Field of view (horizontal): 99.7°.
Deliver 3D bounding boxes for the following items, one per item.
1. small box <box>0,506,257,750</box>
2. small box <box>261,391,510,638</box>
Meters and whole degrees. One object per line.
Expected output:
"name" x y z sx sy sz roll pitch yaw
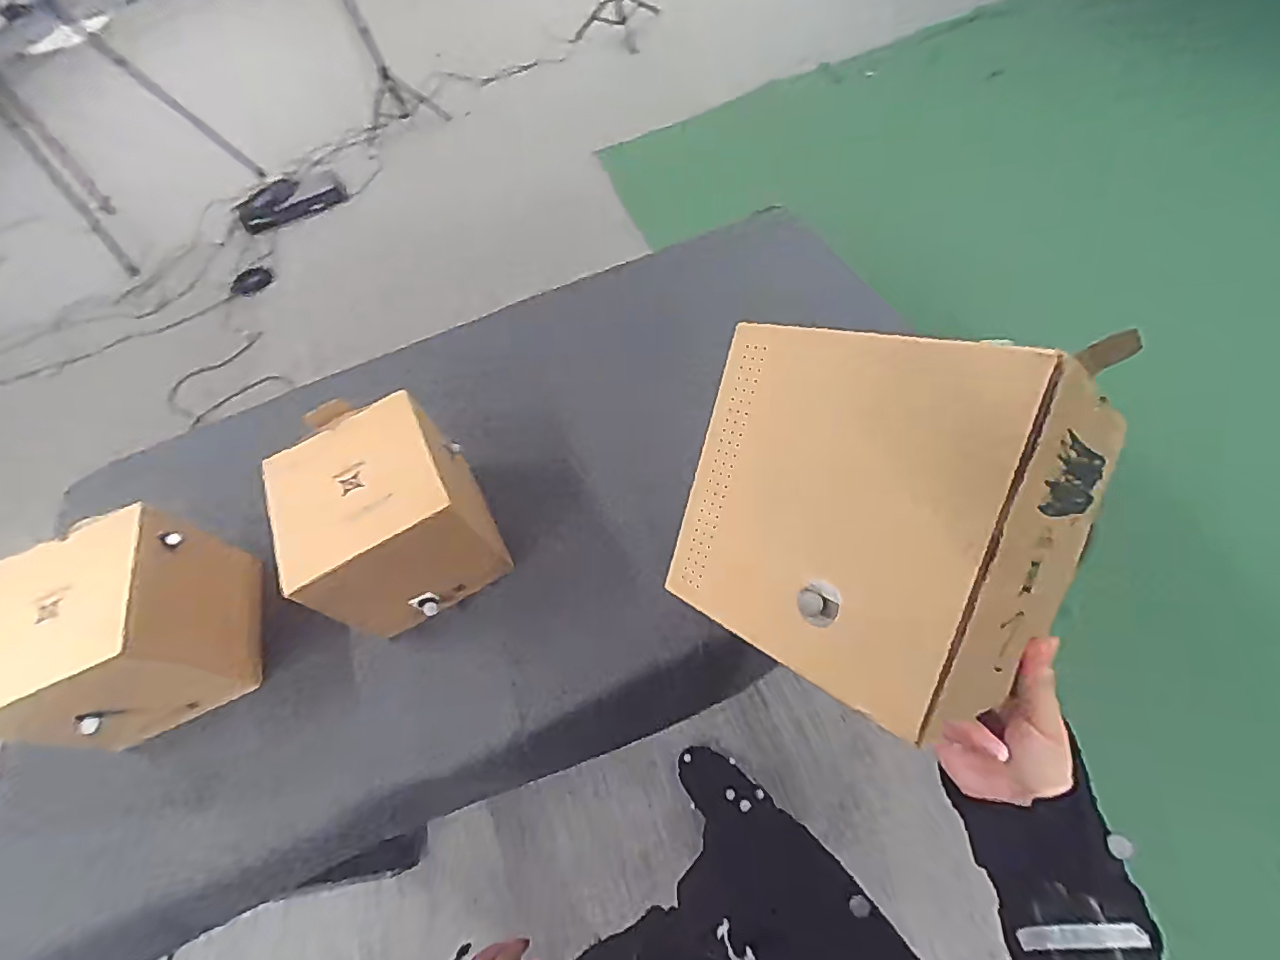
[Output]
"small box" -0.542 0.164 0.571 0.168 0.176 0.179 -25 57 -5
"small box" -0.269 0.043 0.595 0.168 0.176 0.179 -31 59 -8
